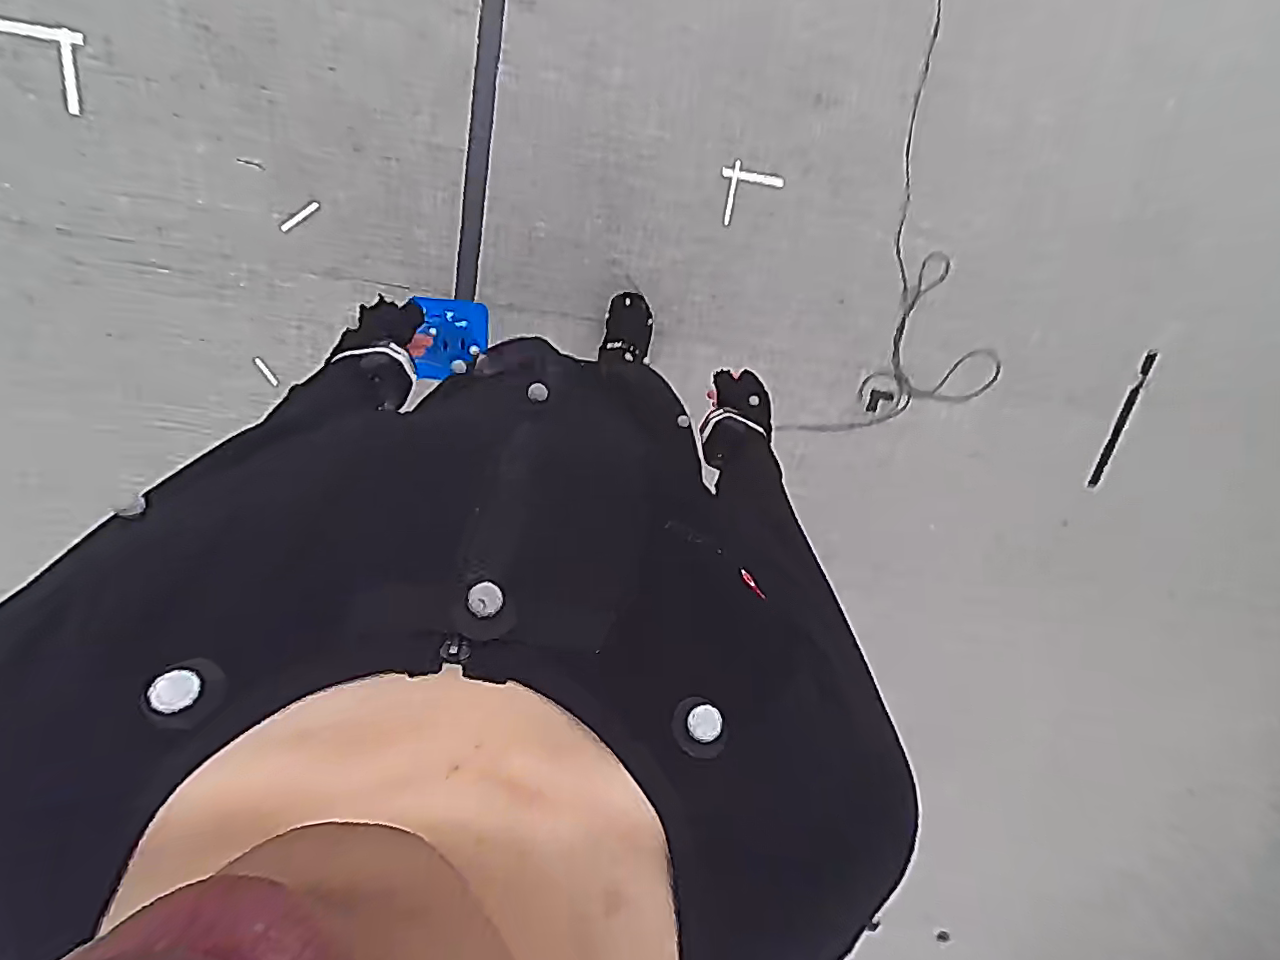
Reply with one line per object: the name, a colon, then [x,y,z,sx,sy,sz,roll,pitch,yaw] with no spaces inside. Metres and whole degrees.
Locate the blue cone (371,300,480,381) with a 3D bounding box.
blue cone: [-0.487,-0.302,1.194,0.192,0.380,0.193,6,105,-5]
